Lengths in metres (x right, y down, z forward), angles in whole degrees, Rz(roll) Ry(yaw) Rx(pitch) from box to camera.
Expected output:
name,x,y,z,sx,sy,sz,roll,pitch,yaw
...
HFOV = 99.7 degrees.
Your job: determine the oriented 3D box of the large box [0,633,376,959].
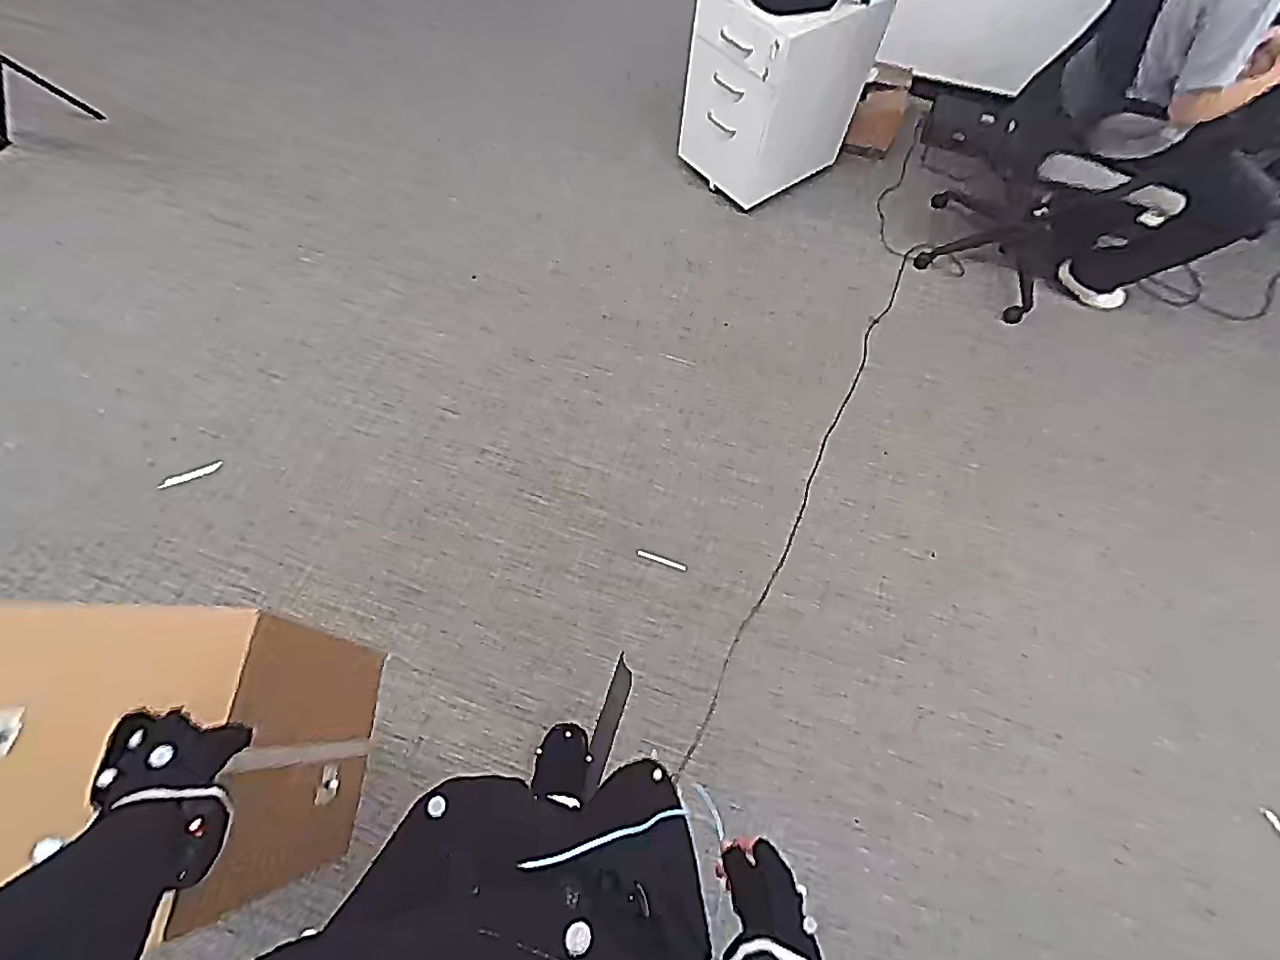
name,x,y,z,sx,sy,sz,roll,pitch,yaw
large box,-0.607,0.395,0.726,0.320,0.408,0.320,1,65,-5
